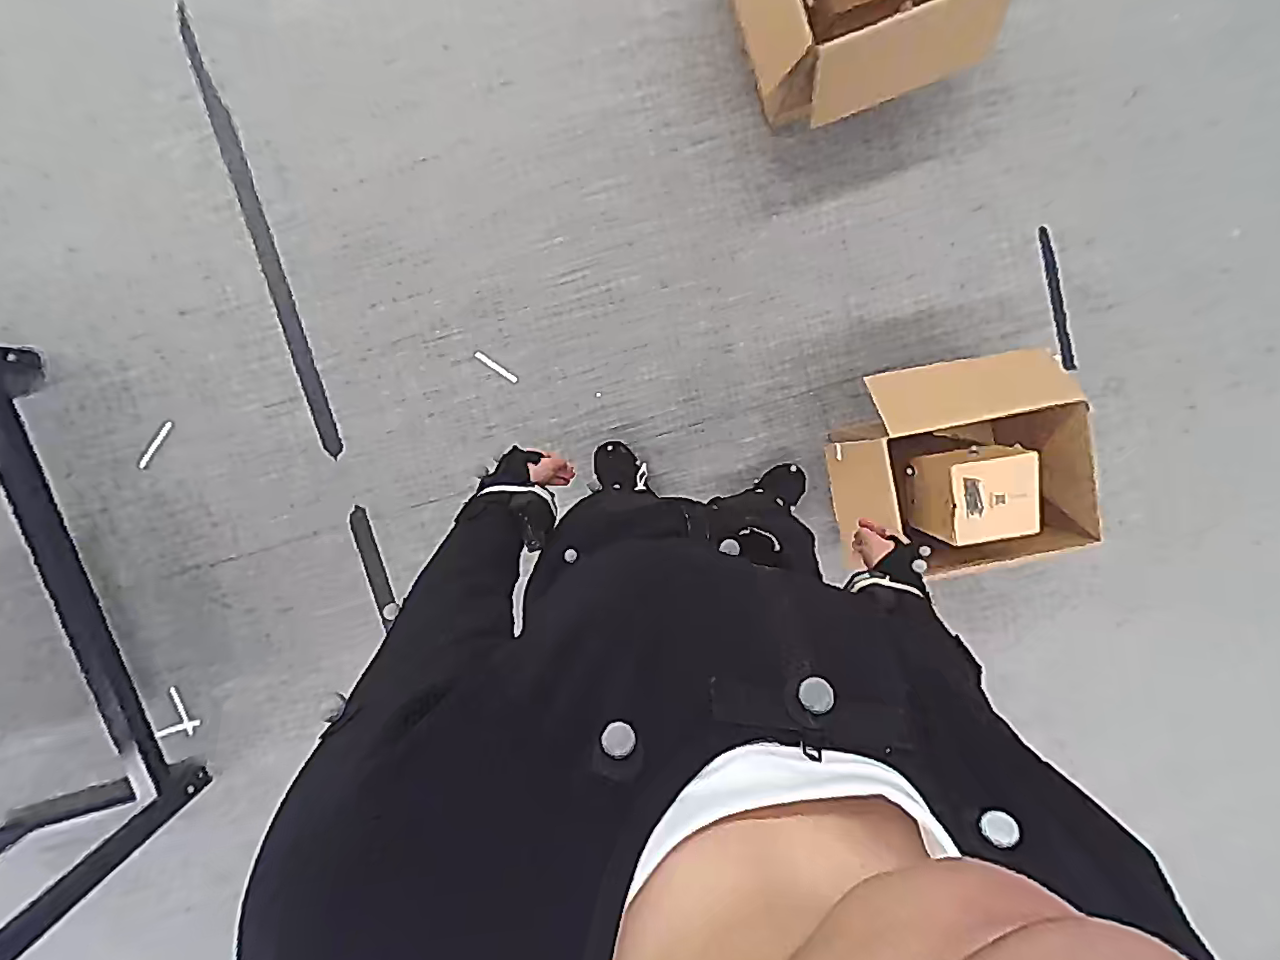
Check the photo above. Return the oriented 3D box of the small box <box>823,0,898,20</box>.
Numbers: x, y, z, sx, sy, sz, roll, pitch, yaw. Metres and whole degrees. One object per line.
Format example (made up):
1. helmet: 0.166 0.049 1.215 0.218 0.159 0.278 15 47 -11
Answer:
1. small box: 0.441 -1.008 0.993 0.179 0.176 0.168 -17 97 2

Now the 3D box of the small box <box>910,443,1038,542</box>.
1. small box: 0.687 0.019 1.133 0.179 0.176 0.168 -9 101 -2
